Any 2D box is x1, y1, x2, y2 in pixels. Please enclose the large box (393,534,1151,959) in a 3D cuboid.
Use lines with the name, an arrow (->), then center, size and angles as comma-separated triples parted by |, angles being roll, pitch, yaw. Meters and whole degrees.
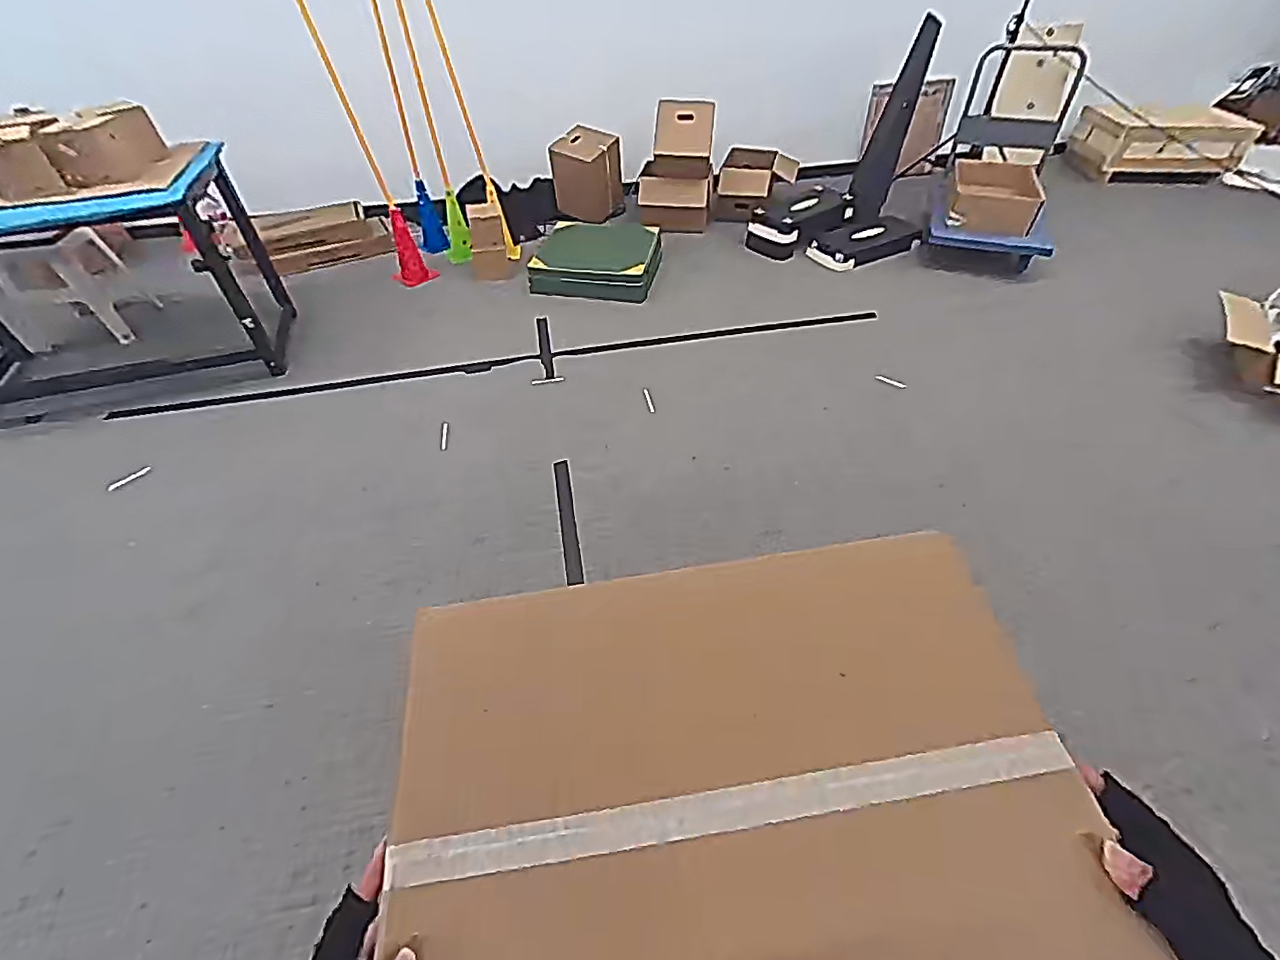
large box -> 0.064, 0.281, 0.453 | 0.408, 0.320, 0.320 | -9, 54, -2
